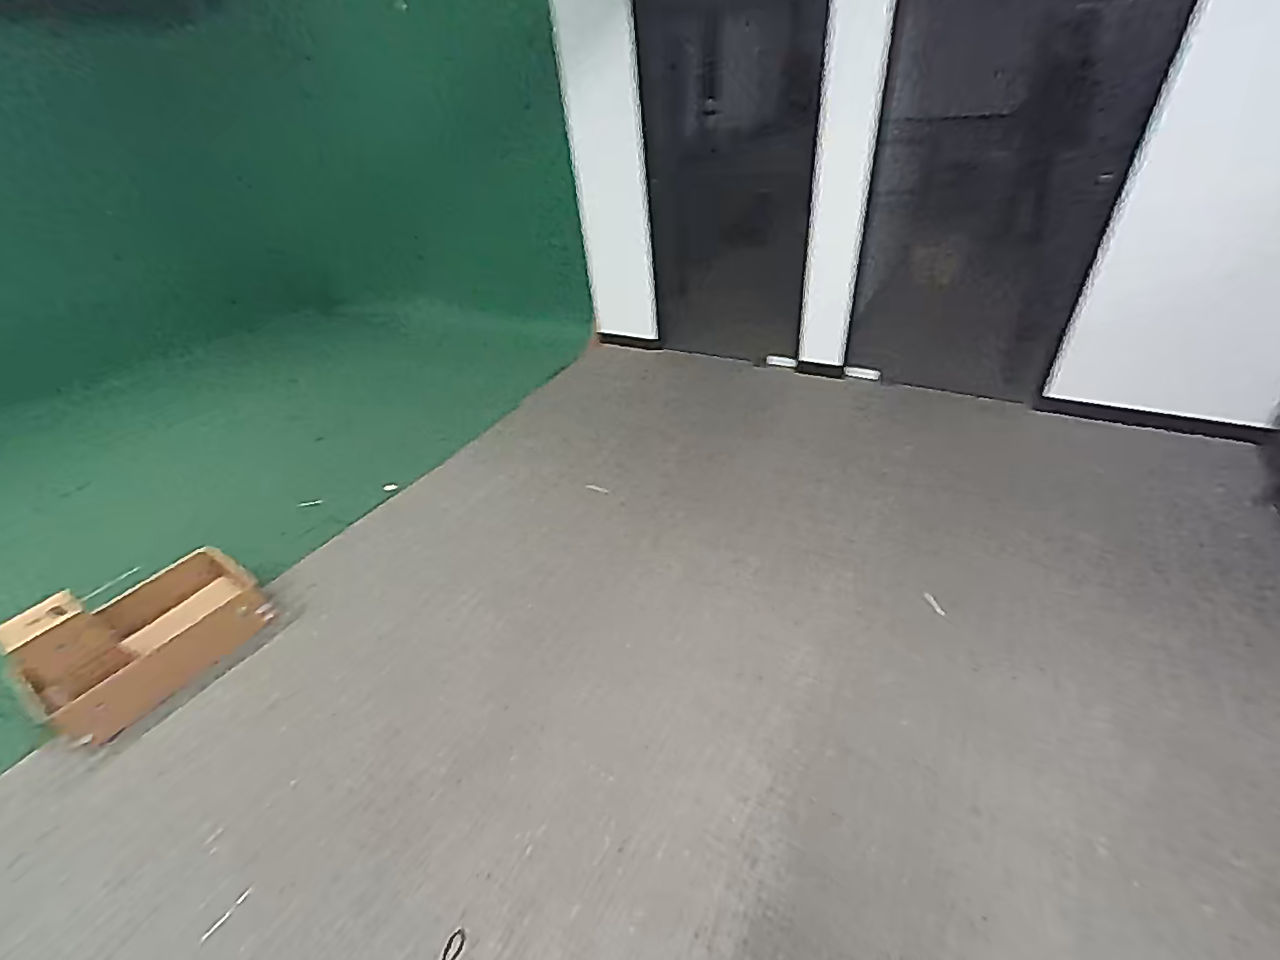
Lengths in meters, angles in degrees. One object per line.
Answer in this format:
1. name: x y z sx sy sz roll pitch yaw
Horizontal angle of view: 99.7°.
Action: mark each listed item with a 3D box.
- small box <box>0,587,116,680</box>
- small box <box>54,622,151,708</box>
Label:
1. small box: -1.763 0.468 1.649 0.168 0.176 0.179 19 44 29
2. small box: -1.755 0.599 1.749 0.168 0.176 0.179 19 42 28
